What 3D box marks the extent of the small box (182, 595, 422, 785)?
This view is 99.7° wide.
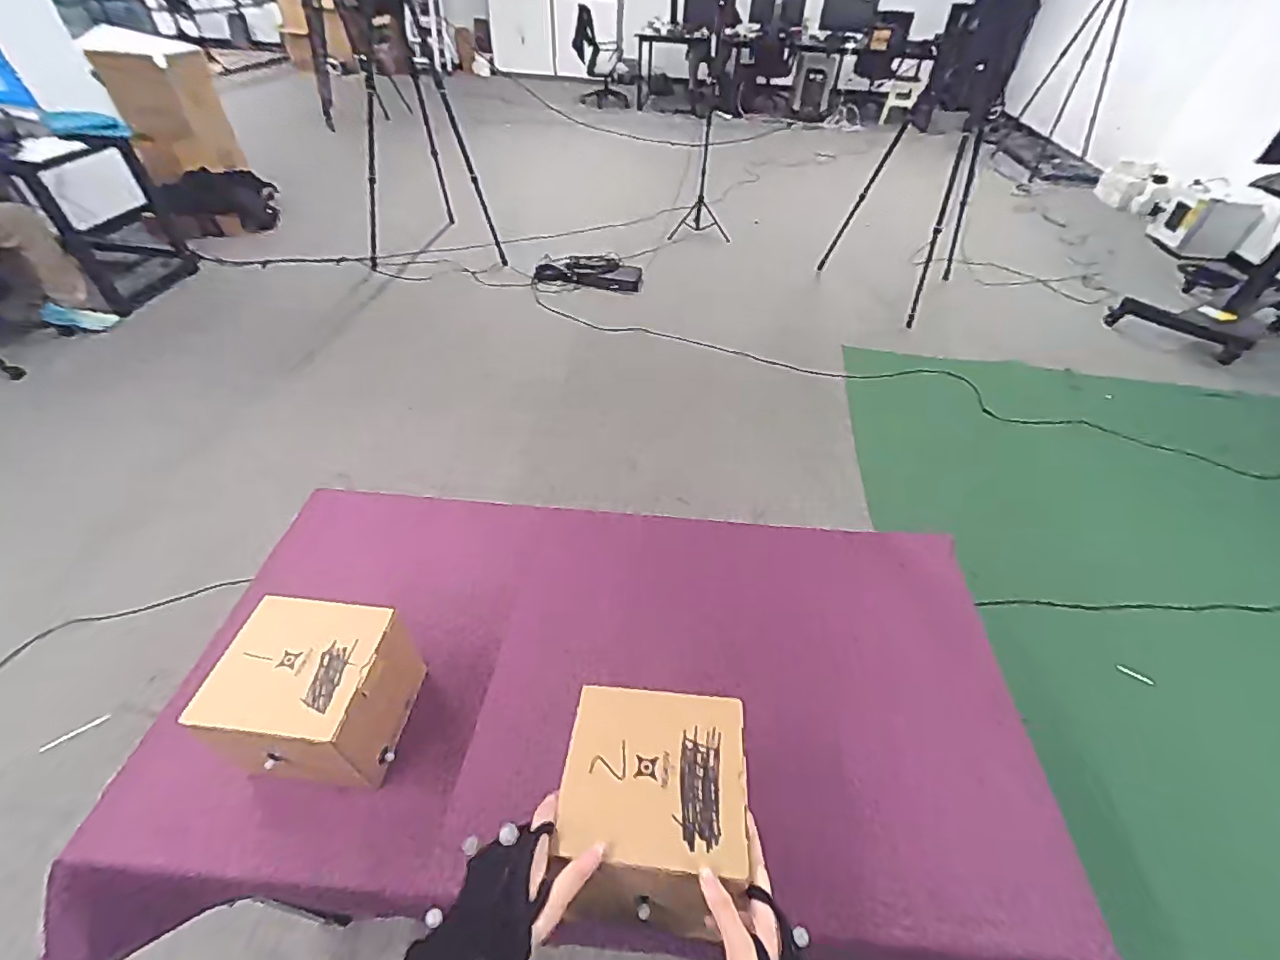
[{"bbox_3d":[-0.406,0.272,0.693,0.179,0.176,0.168,6,44,3],"label":"small box"}]
